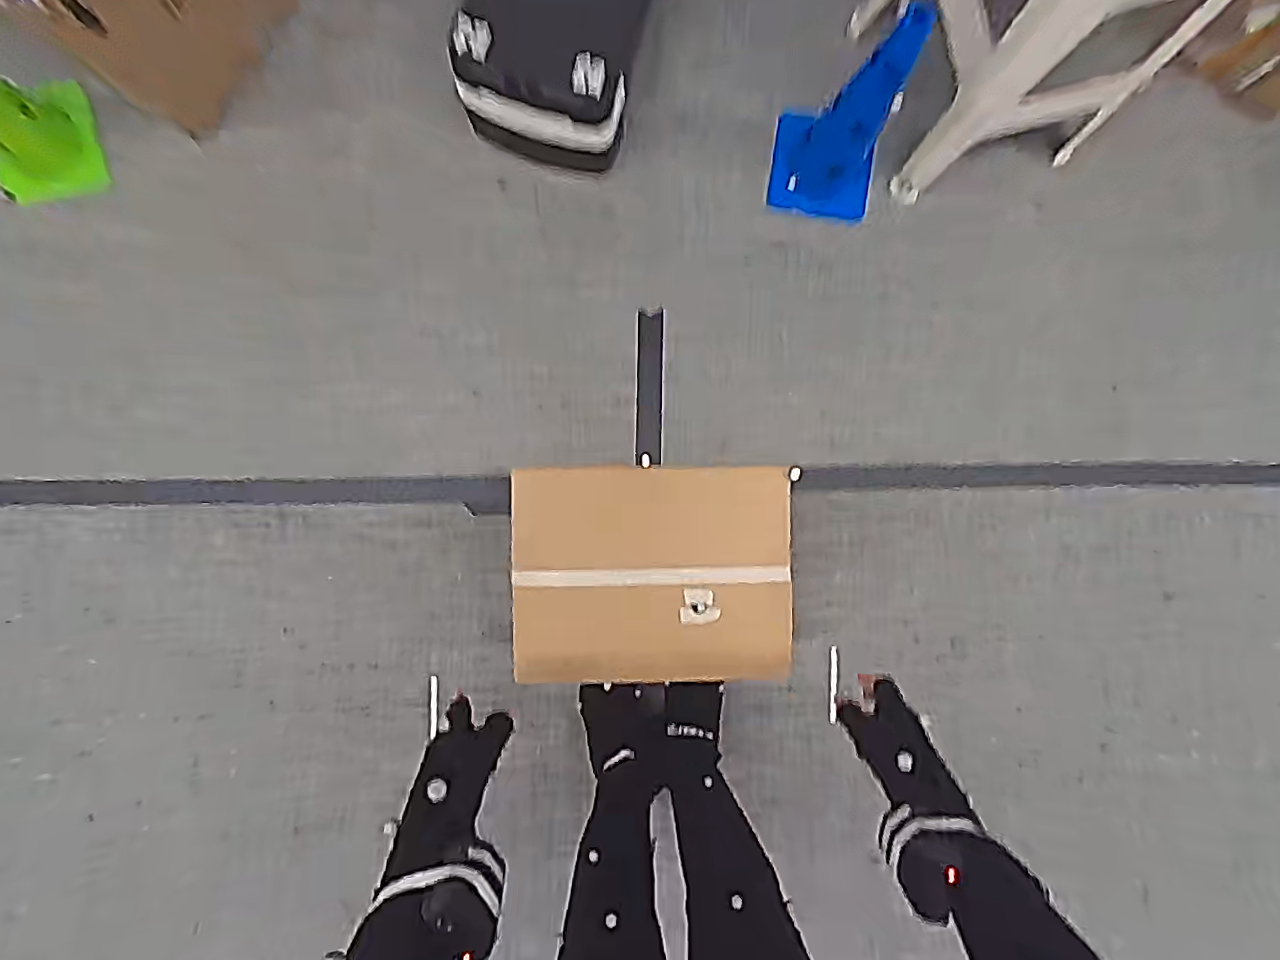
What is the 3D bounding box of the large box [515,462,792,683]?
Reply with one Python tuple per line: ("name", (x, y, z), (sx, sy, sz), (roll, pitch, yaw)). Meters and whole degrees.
("large box", (0.013, 0.133, 0.935), (0.408, 0.320, 0.320), (-1, 92, -3))
